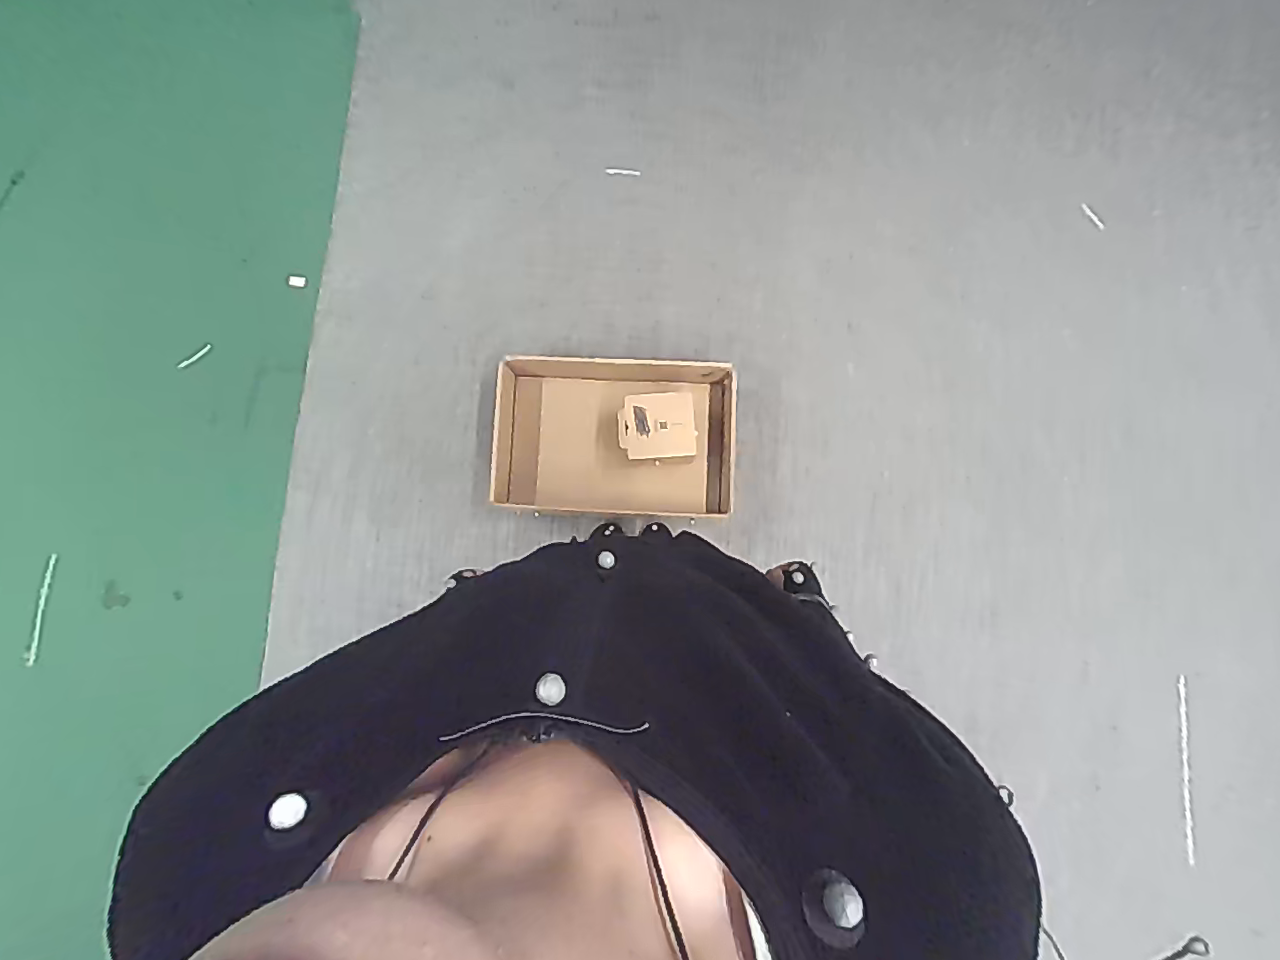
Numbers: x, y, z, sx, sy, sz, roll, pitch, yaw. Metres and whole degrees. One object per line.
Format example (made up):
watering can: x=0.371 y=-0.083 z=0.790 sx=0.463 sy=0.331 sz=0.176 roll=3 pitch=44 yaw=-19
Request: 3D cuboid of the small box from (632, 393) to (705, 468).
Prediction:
small box: x=0.075 y=-0.124 z=1.429 sx=0.179 sy=0.176 sz=0.168 roll=-4 pitch=84 yaw=2
